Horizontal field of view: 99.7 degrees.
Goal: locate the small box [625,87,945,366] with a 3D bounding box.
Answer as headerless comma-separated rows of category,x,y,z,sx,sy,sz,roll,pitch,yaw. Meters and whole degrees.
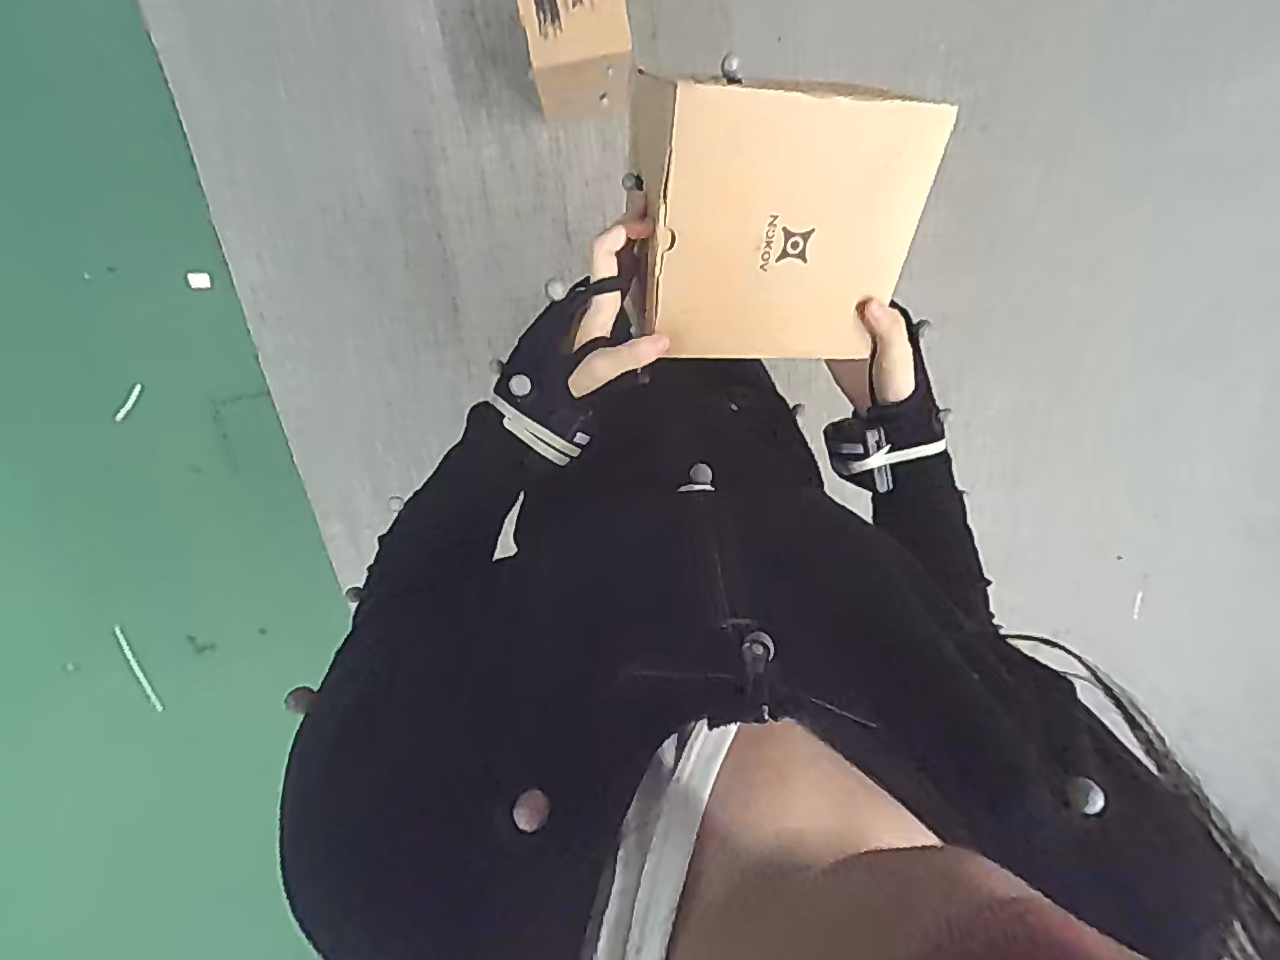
small box,0.088,-0.203,0.430,0.179,0.176,0.168,-2,129,-8
